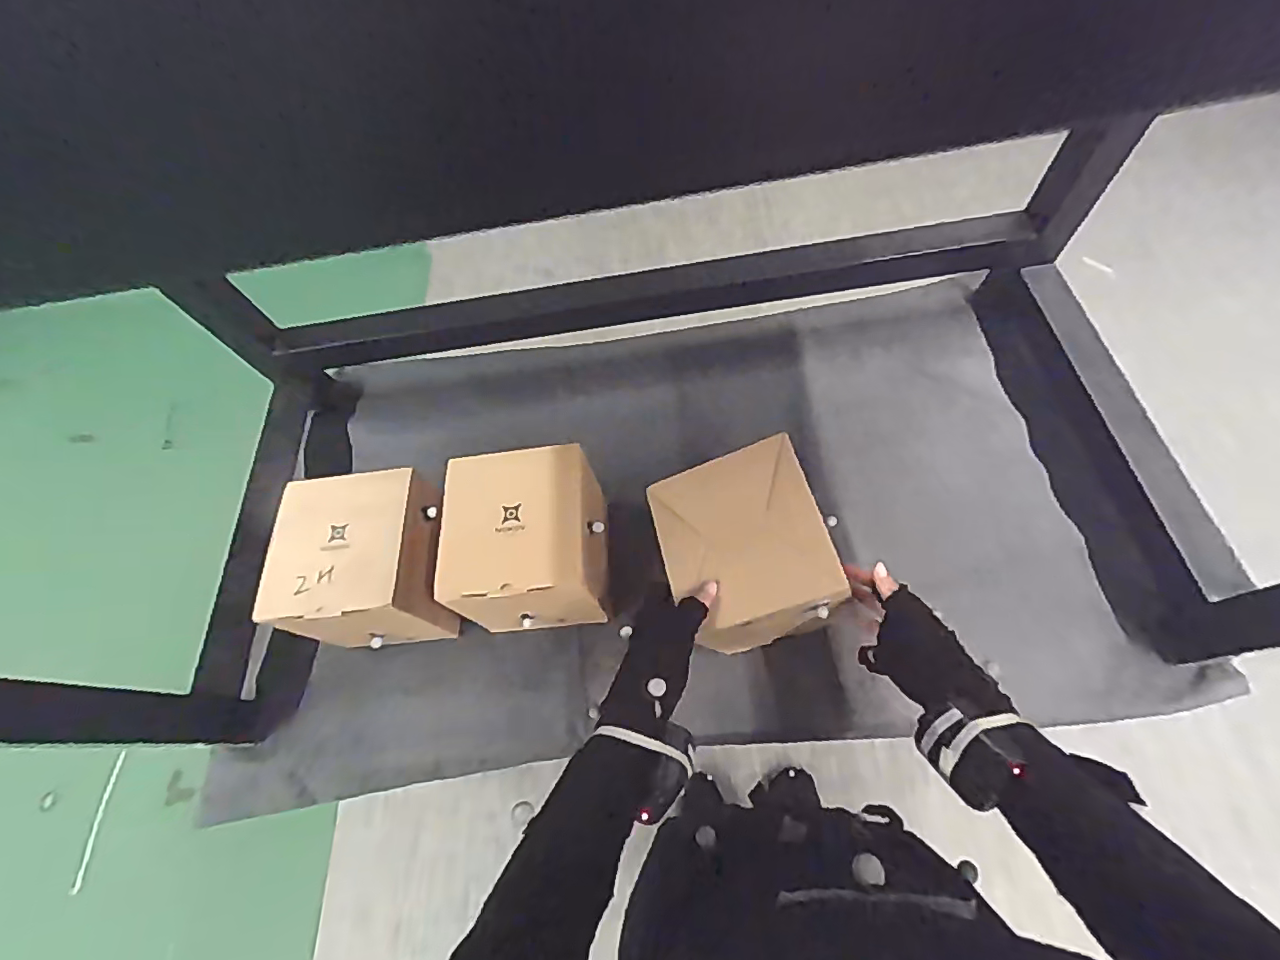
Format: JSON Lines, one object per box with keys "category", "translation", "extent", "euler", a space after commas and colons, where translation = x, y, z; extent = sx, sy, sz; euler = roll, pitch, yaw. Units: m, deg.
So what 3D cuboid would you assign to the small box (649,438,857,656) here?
{"category": "small box", "translation": [0.126, 0.083, 0.614], "extent": [0.168, 0.176, 0.179], "euler": [-23, 61, 15]}
